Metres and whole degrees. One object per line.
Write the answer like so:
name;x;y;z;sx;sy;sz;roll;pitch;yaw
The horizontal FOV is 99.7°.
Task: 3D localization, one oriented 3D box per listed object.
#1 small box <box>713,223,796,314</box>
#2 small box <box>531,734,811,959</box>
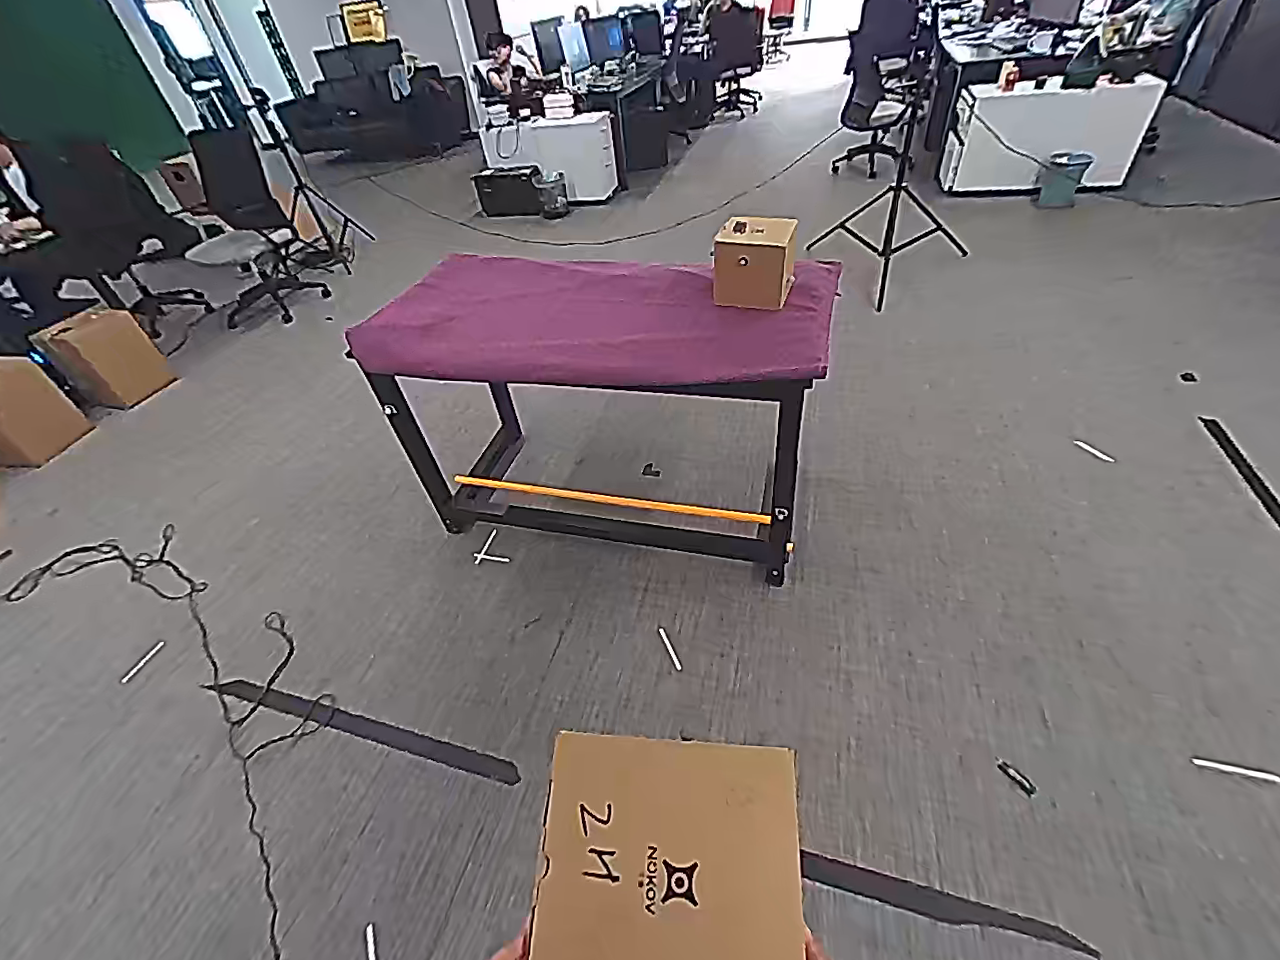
small box;0.295;-0.547;1.401;0.179;0.176;0.168;12;48;19
small box;0.025;0.303;0.426;0.179;0.176;0.168;2;60;5
